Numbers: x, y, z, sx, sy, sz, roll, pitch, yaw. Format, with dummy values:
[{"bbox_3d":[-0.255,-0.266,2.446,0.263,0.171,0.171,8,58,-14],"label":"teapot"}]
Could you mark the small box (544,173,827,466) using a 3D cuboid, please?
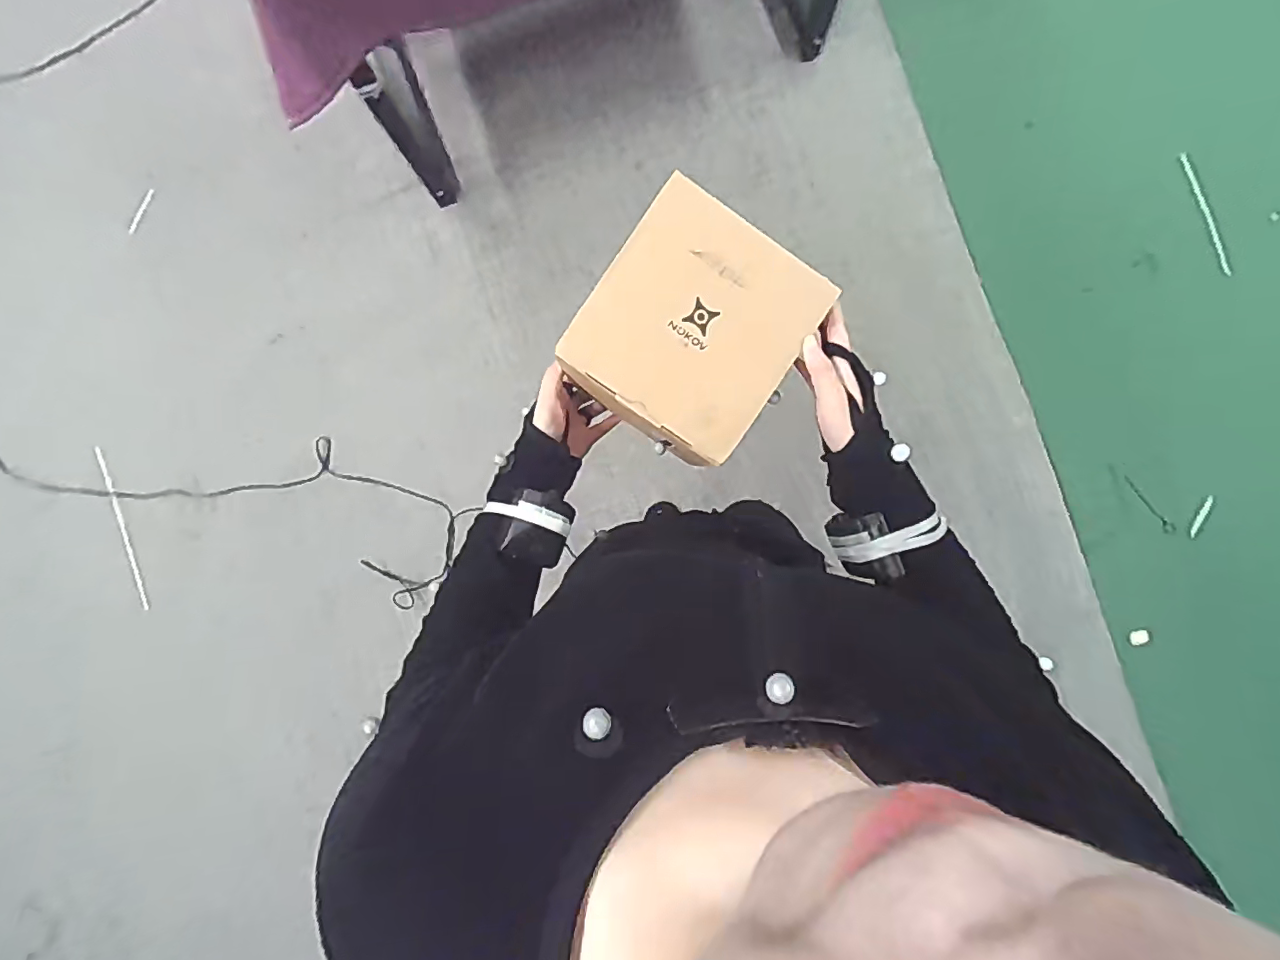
[{"bbox_3d":[0.035,-0.129,0.507,0.168,0.176,0.179,34,90,-4],"label":"small box"}]
